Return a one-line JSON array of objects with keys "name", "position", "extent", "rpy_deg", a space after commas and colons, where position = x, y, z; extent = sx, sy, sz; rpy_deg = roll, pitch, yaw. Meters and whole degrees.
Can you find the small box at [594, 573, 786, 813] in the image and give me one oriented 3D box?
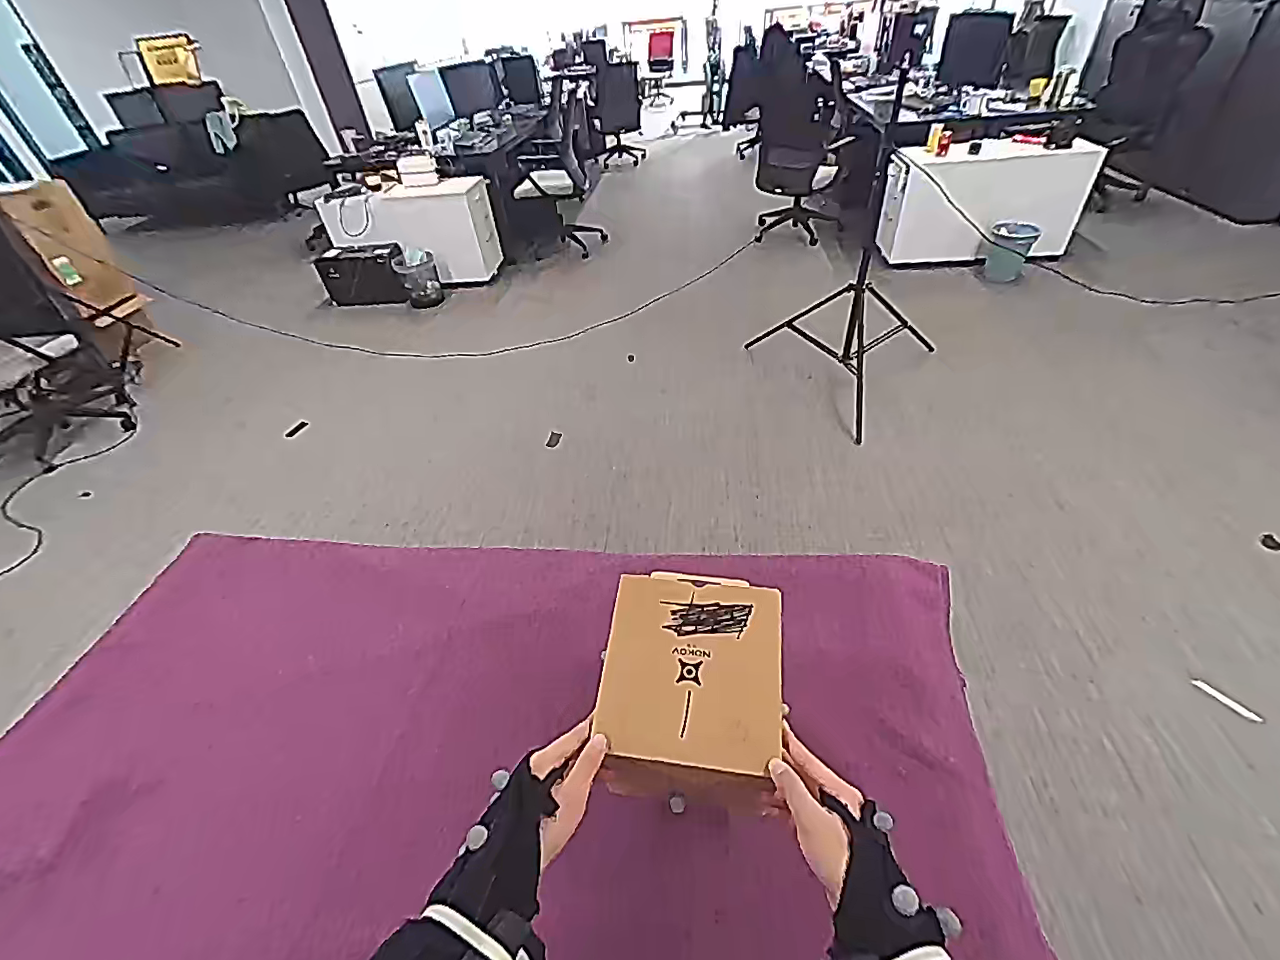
[{"name": "small box", "position": [0.058, 0.222, 0.565], "extent": [0.168, 0.176, 0.179], "rpy_deg": [4, 50, 9]}]
